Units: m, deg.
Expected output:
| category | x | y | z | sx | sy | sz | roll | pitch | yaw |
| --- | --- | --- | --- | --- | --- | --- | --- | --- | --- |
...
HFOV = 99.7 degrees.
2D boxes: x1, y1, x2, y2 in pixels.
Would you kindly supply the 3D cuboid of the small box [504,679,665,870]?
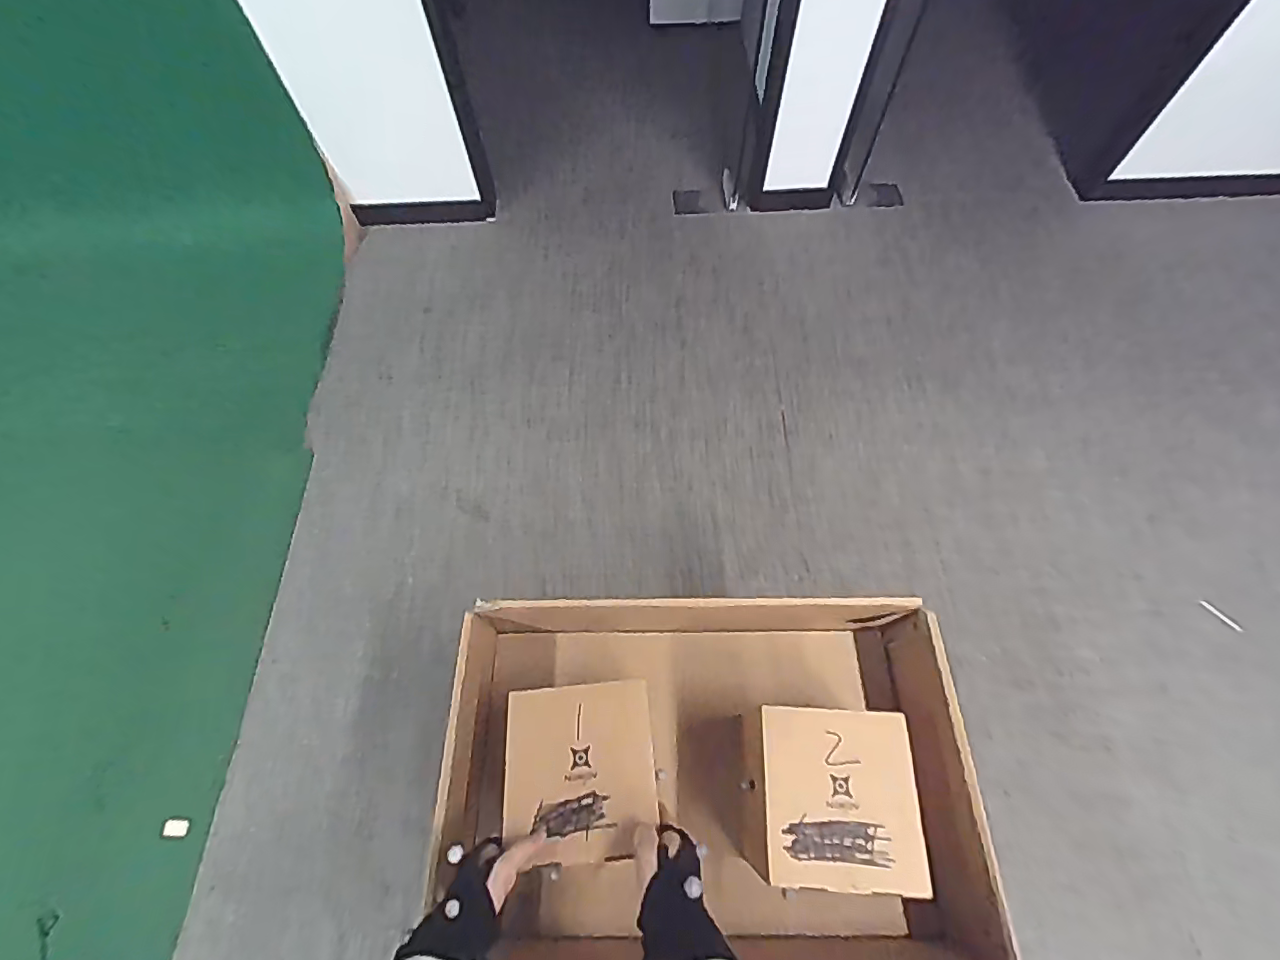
| category | x | y | z | sx | sy | sz | roll | pitch | yaw |
| --- | --- | --- | --- | --- | --- | --- | --- | --- | --- |
| small box | -0.060 | 0.360 | 0.663 | 0.168 | 0.176 | 0.179 | -6 | 56 | 0 |
